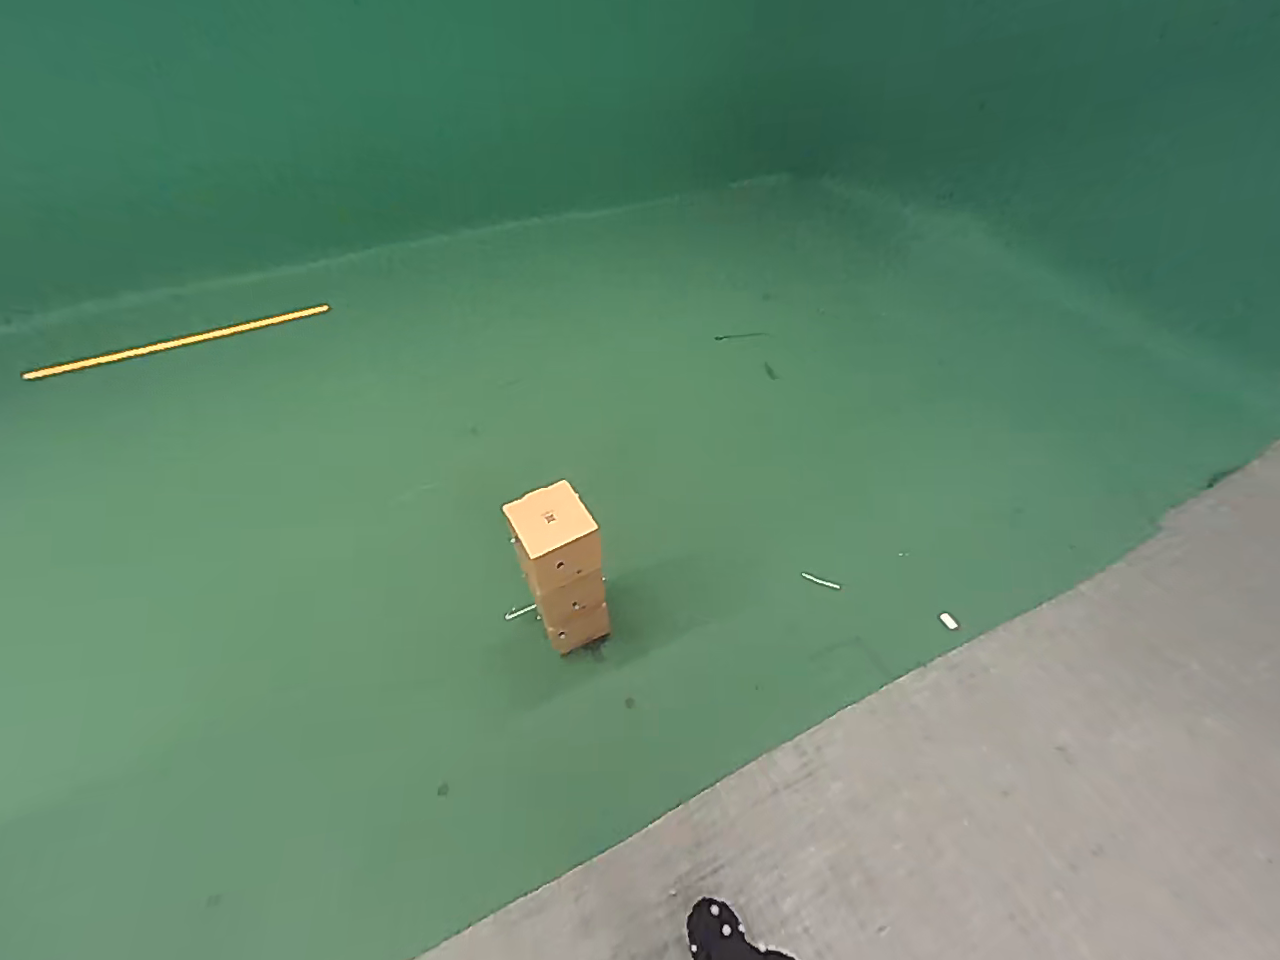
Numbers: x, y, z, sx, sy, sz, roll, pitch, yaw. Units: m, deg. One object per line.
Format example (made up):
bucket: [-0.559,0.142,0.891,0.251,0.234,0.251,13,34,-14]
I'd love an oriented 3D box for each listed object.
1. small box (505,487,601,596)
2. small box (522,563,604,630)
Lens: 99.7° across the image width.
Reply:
small box: [-0.204,0.155,1.301,0.168,0.176,0.179,-24,52,-19]
small box: [-0.205,0.261,1.424,0.168,0.176,0.179,-22,52,-18]
